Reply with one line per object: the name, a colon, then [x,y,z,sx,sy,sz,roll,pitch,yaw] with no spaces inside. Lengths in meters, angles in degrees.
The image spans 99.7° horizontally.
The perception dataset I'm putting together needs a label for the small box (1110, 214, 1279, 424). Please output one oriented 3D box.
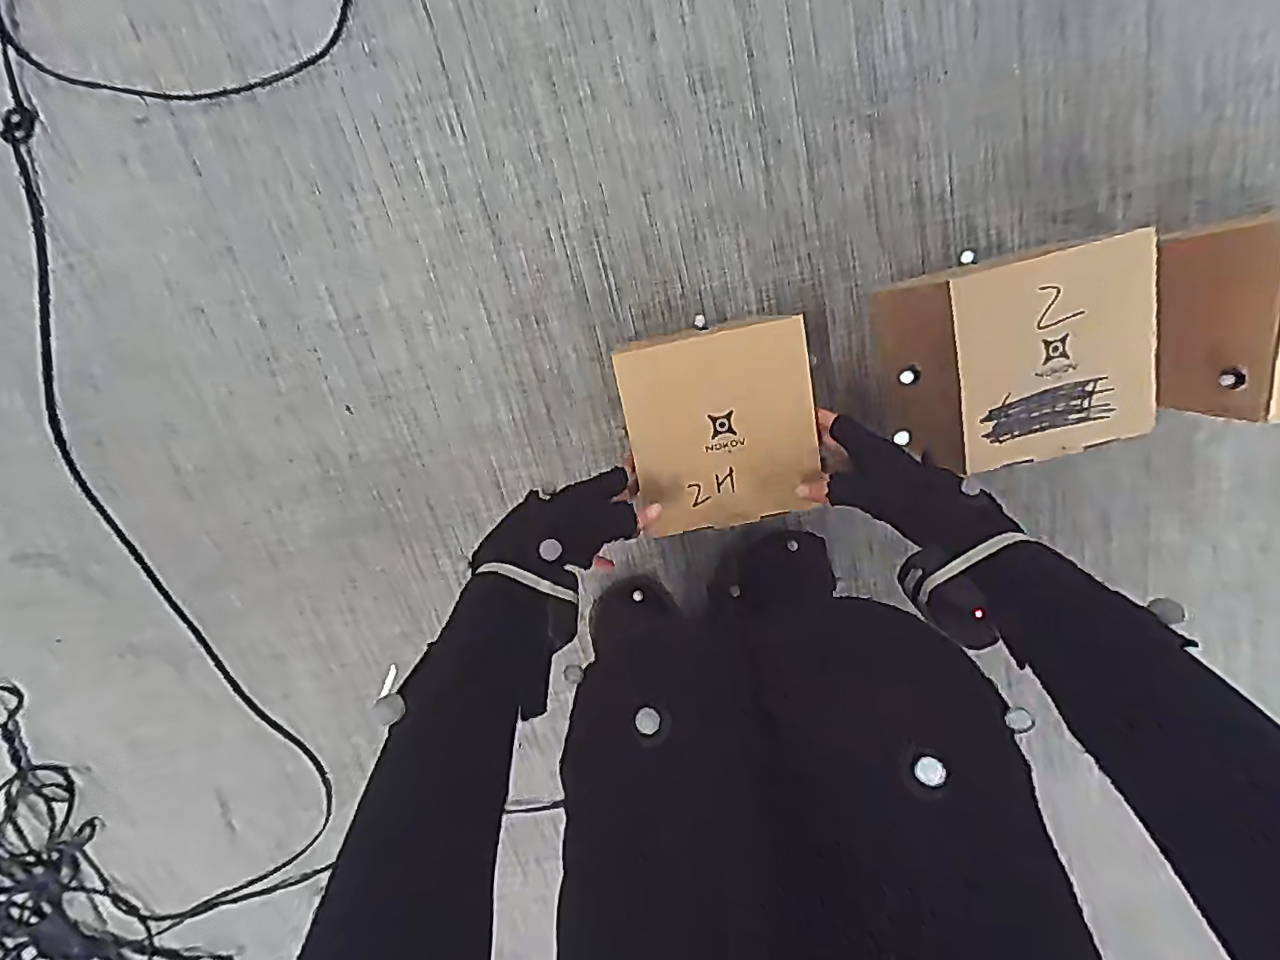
small box: [0.613,-0.166,0.531,0.168,0.176,0.179,-11,107,2]
